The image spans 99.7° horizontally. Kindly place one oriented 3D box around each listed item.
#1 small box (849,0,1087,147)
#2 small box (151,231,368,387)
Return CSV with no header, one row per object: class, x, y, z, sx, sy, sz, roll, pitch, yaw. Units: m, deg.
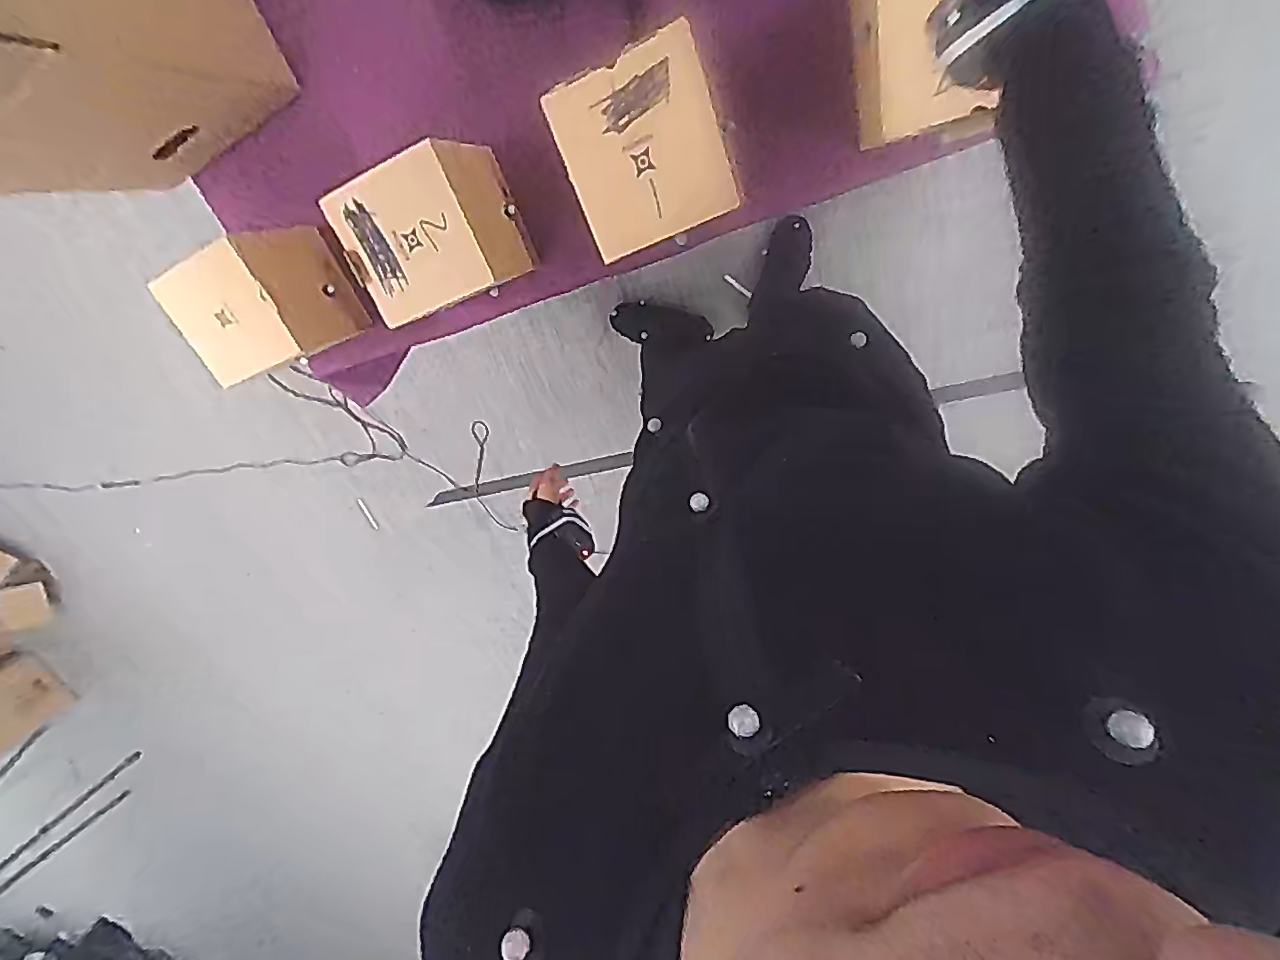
small box,0.304,-0.450,0.530,0.168,0.176,0.179,-7,117,17
small box,-0.569,-0.266,0.833,0.179,0.176,0.168,-16,114,19
